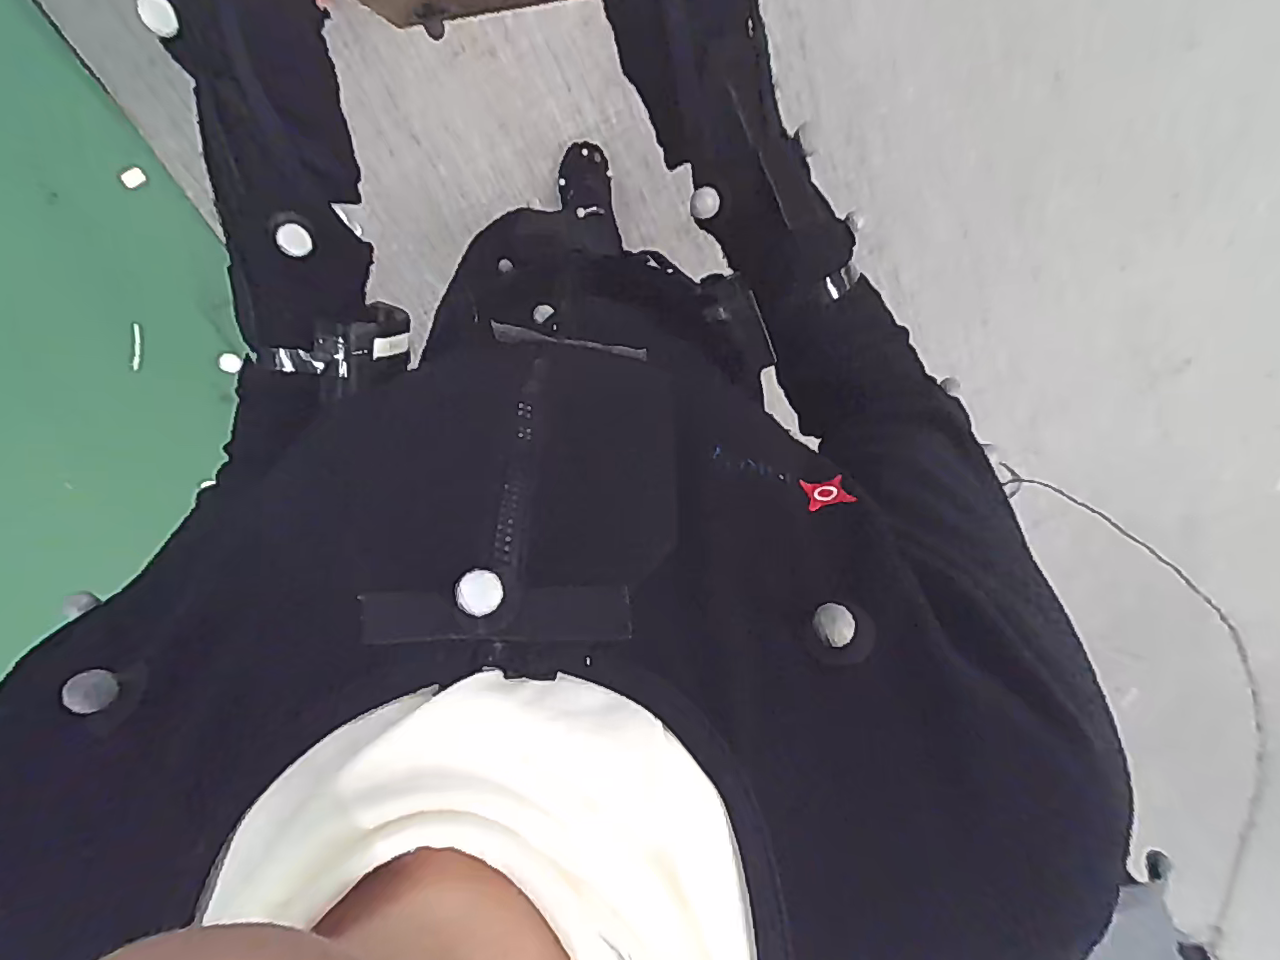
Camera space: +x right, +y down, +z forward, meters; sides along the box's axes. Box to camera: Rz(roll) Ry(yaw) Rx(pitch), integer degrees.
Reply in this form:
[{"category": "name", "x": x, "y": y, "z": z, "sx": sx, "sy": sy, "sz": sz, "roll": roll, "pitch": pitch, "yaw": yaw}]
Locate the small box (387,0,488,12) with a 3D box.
[{"category": "small box", "x": -0.093, "y": -0.354, "z": 0.252, "sx": 0.168, "sy": 0.176, "sz": 0.179, "roll": -8, "pitch": 118, "yaw": 2}]
